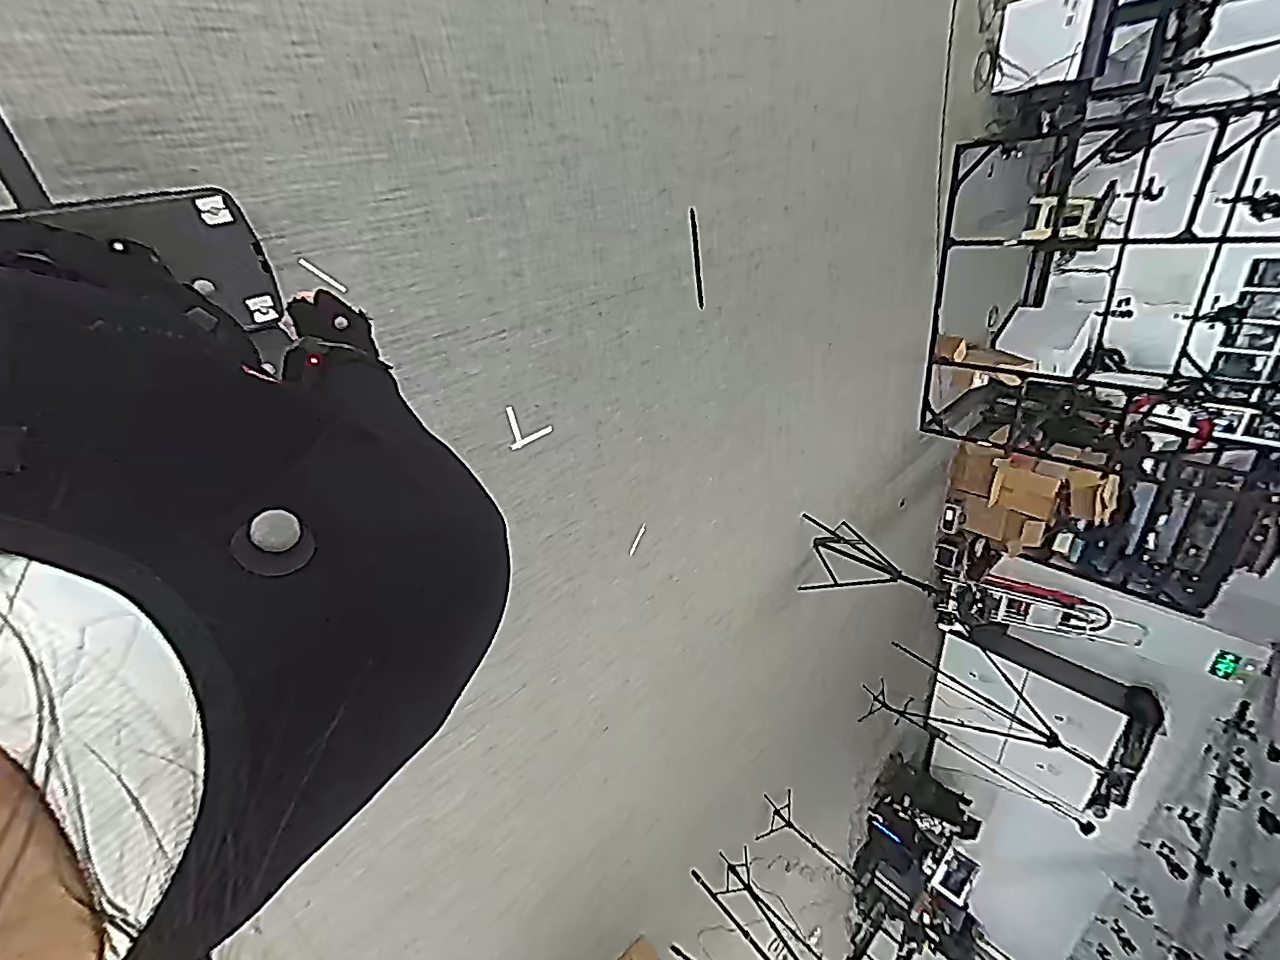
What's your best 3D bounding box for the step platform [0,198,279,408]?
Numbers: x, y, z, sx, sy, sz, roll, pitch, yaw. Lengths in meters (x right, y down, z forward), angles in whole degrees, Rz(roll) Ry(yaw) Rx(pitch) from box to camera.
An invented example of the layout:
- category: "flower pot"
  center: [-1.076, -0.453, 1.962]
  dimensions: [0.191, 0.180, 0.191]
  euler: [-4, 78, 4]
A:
- category: "step platform"
  center: [-1.112, -0.340, 1.042]
  dimensions: [0.684, 0.204, 0.286]
  euler: [-31, 127, -33]
